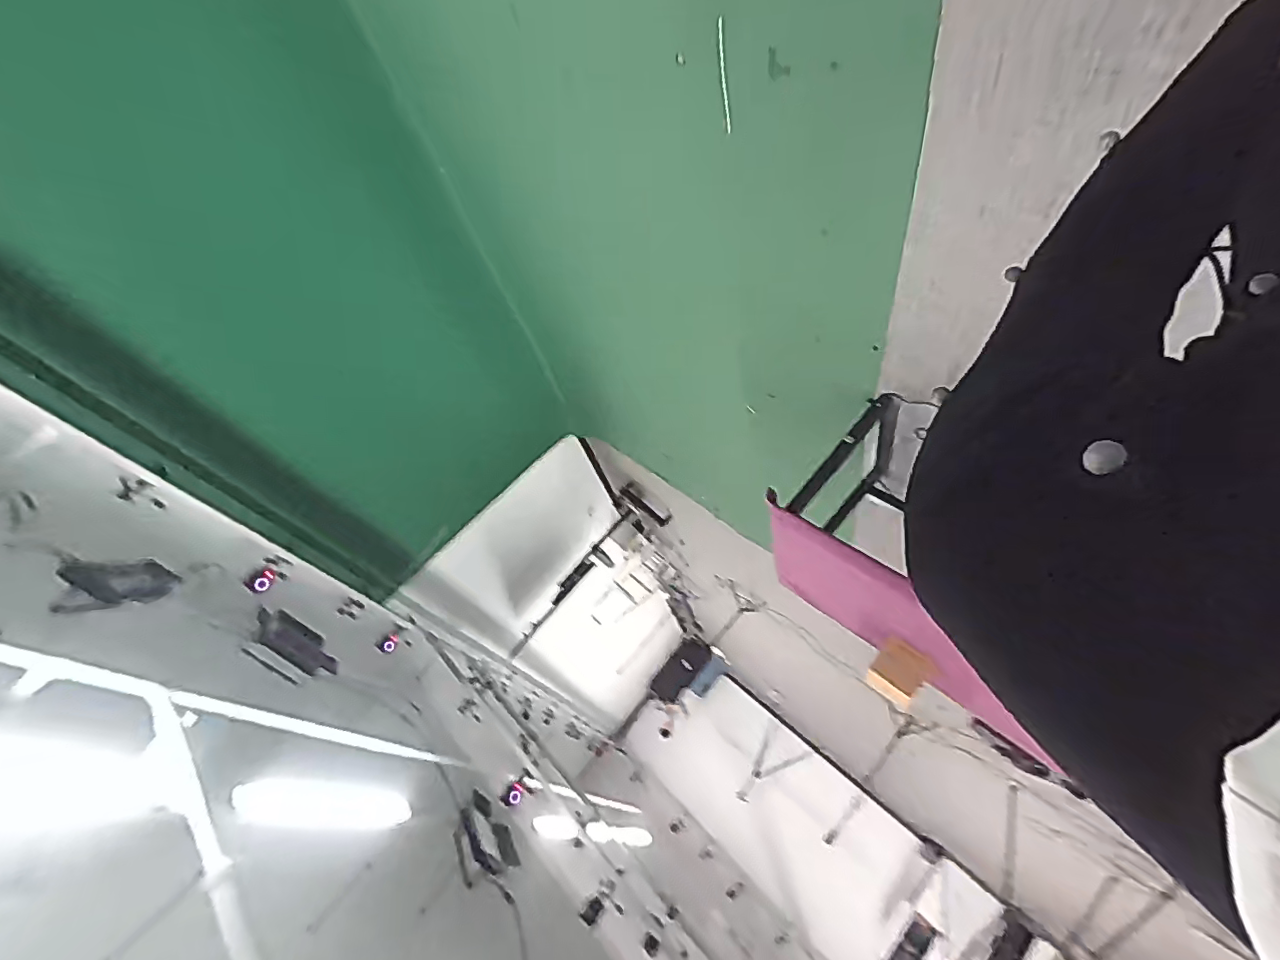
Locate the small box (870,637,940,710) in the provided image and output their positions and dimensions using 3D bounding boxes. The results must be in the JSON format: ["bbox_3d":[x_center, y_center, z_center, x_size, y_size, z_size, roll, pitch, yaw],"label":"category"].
[{"bbox_3d":[0.977,0.709,1.993,0.168,0.176,0.179,35,162,34],"label":"small box"}]
